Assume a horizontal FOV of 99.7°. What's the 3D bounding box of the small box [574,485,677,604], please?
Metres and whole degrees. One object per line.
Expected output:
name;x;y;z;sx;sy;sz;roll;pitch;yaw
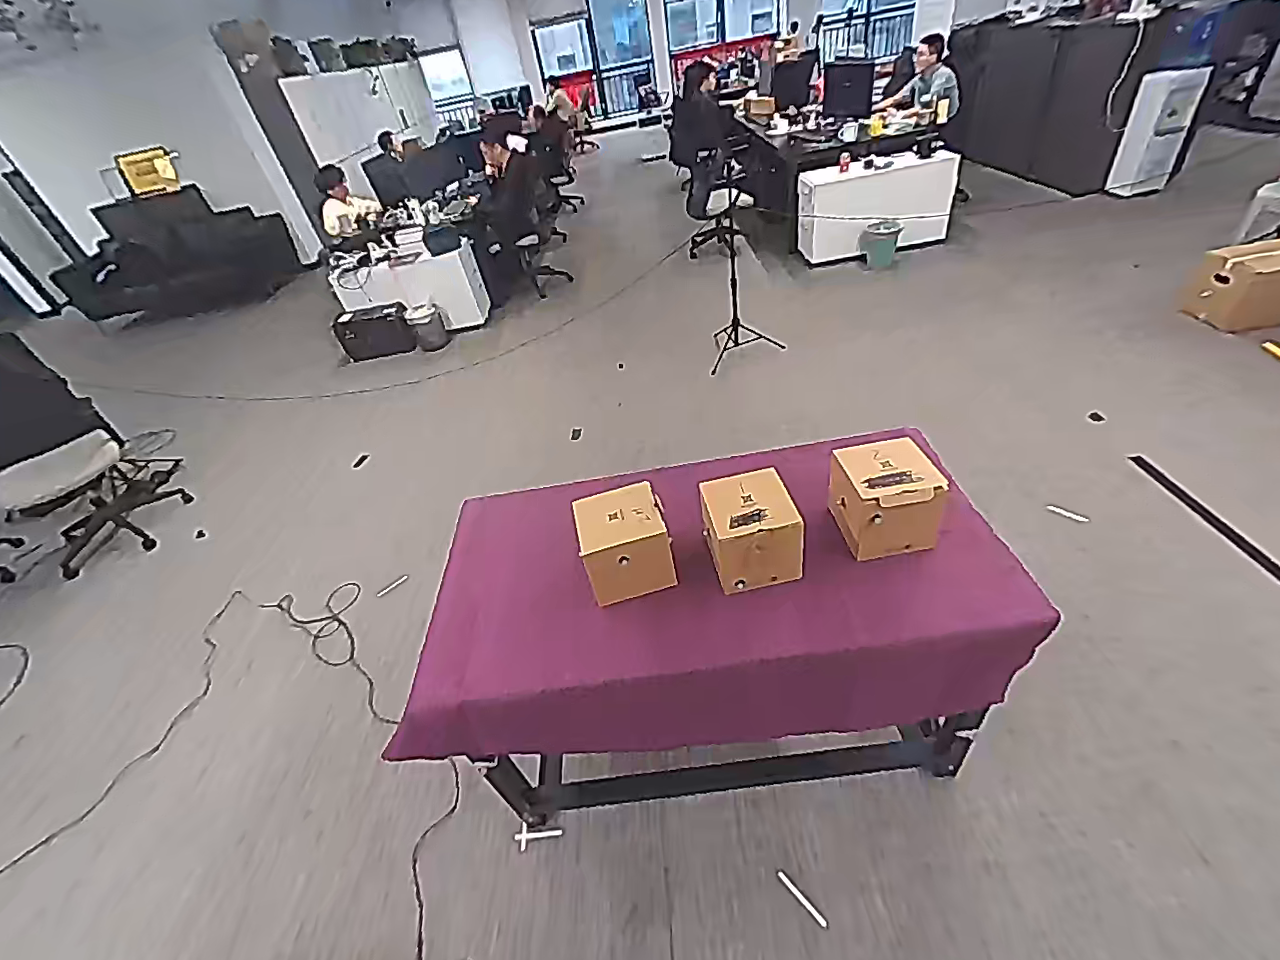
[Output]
small box;-0.031;0.142;1.160;0.179;0.176;0.168;-14;40;-3

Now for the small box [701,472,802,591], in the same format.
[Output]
small box;0.232;0.113;1.129;0.168;0.176;0.179;-12;38;0
